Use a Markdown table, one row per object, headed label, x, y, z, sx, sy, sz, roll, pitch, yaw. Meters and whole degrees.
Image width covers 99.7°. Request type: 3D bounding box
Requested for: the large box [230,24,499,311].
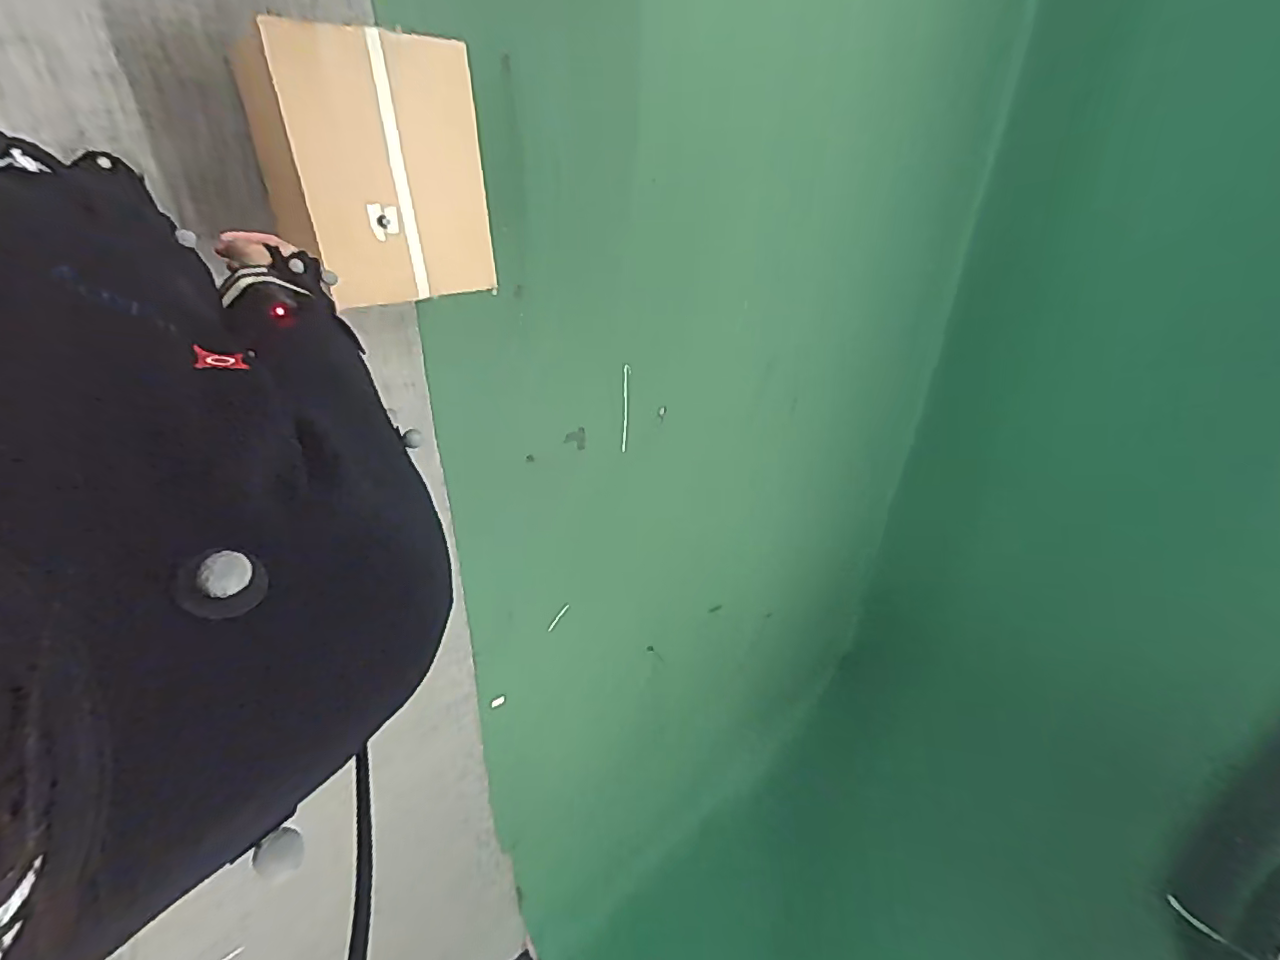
| label | x | y | z | sx | sy | sz | roll | pitch | yaw |
| --- | --- | --- | --- | --- | --- | --- | --- | --- | --- |
| large box | -0.508 | -0.573 | 1.031 | 0.320 | 0.320 | 0.408 | -23 | 126 | -33 |
